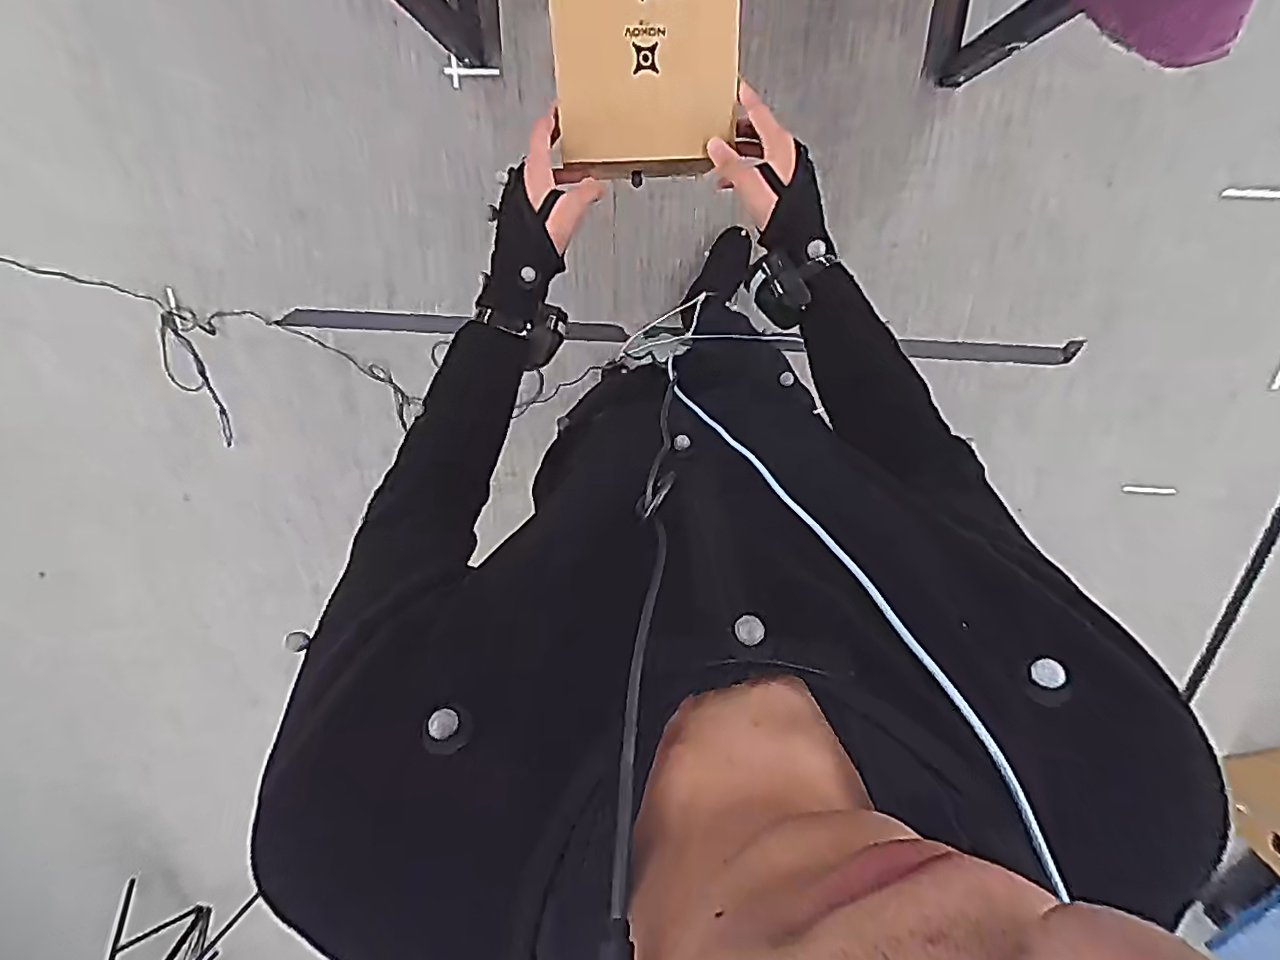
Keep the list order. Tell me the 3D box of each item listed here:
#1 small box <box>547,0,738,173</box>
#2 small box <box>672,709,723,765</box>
[{"bbox_3d":[-0.003,-0.414,0.544,0.168,0.176,0.179,-4,114,-5],"label":"small box"},{"bbox_3d":[0.208,0.971,2.002,0.179,0.176,0.168,1,112,0],"label":"small box"}]
